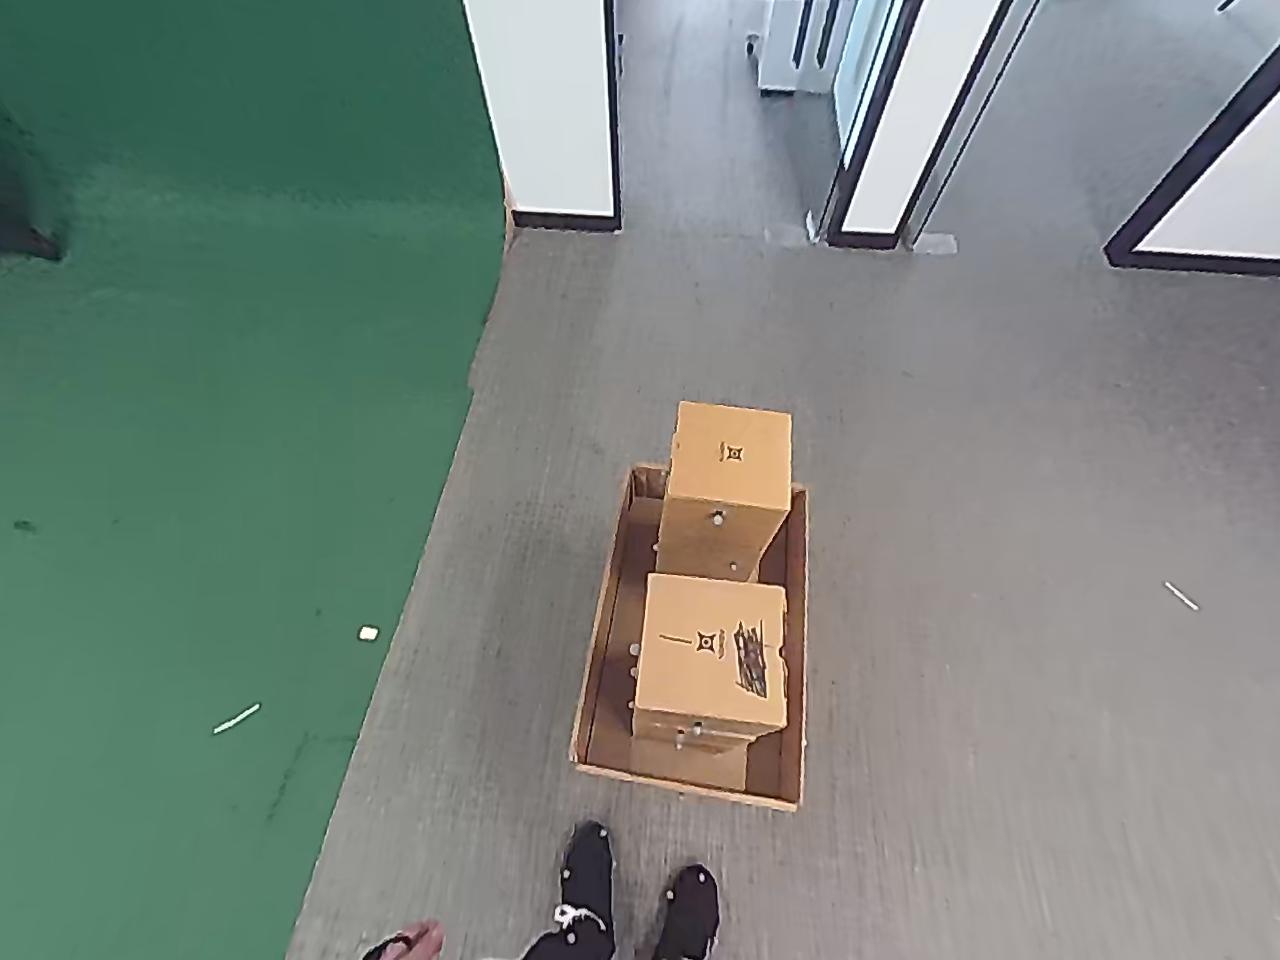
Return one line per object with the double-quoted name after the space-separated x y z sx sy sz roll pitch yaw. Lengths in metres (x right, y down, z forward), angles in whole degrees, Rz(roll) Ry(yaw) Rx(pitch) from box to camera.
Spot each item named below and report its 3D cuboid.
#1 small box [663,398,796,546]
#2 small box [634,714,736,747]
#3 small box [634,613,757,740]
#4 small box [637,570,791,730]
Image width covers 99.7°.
0.136 -0.005 0.851 0.179 0.176 0.168 7 62 3 "small box"
0.088 0.393 1.008 0.179 0.176 0.168 10 62 4 "small box"
0.090 0.313 0.864 0.179 0.176 0.168 7 62 4 "small box"
0.093 0.232 0.720 0.179 0.176 0.168 6 62 4 "small box"
